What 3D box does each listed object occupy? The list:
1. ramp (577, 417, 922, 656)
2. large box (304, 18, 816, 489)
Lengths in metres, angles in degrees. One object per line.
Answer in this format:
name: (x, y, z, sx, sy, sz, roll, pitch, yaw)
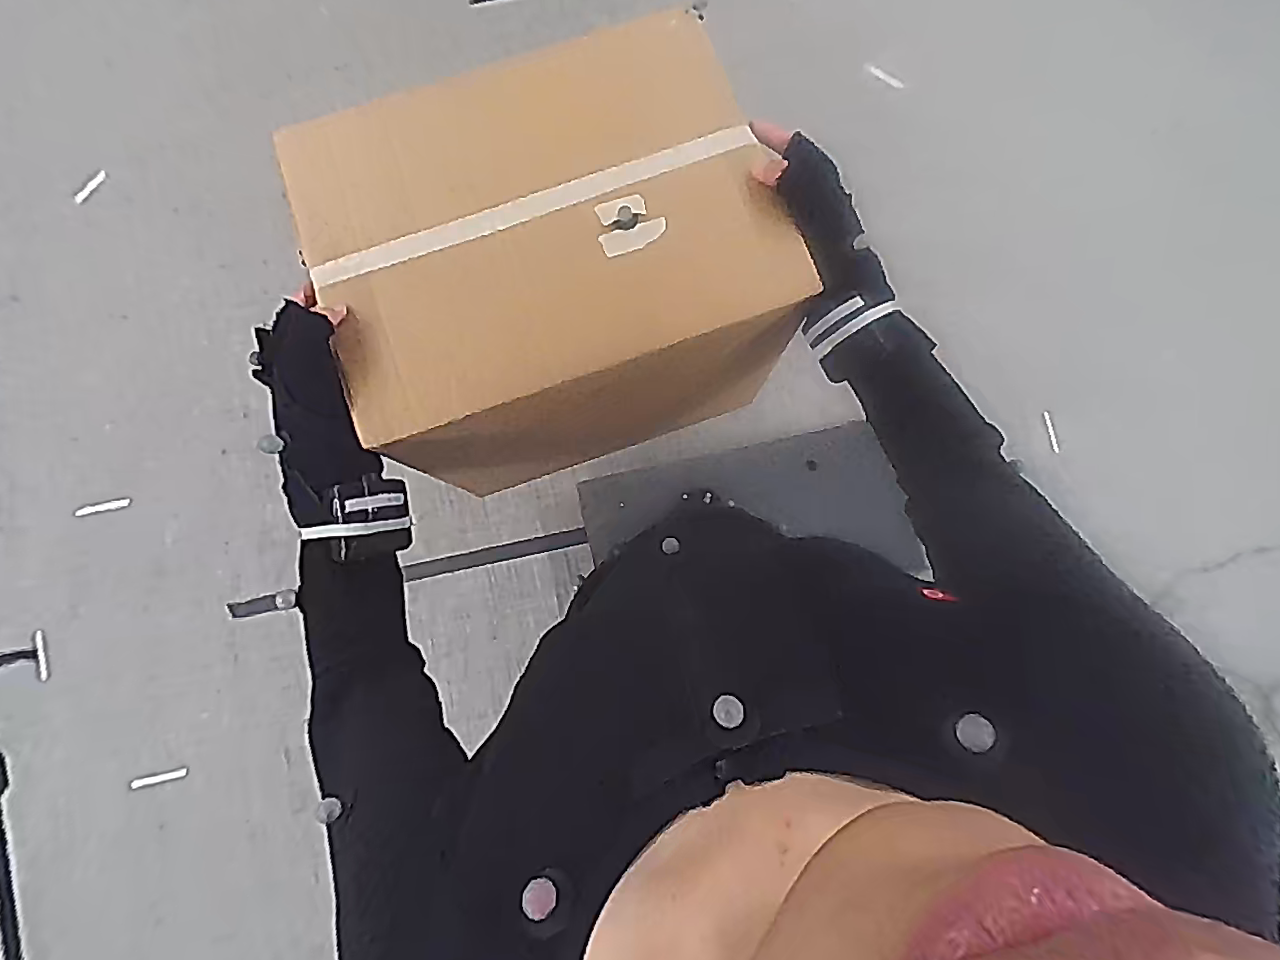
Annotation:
ramp: (0.348, 0.133, 1.592, 0.991, 0.206, 0.509, -15, 84, -4)
large box: (-0.079, -0.217, 0.634, 0.408, 0.320, 0.320, -19, 81, -3)
